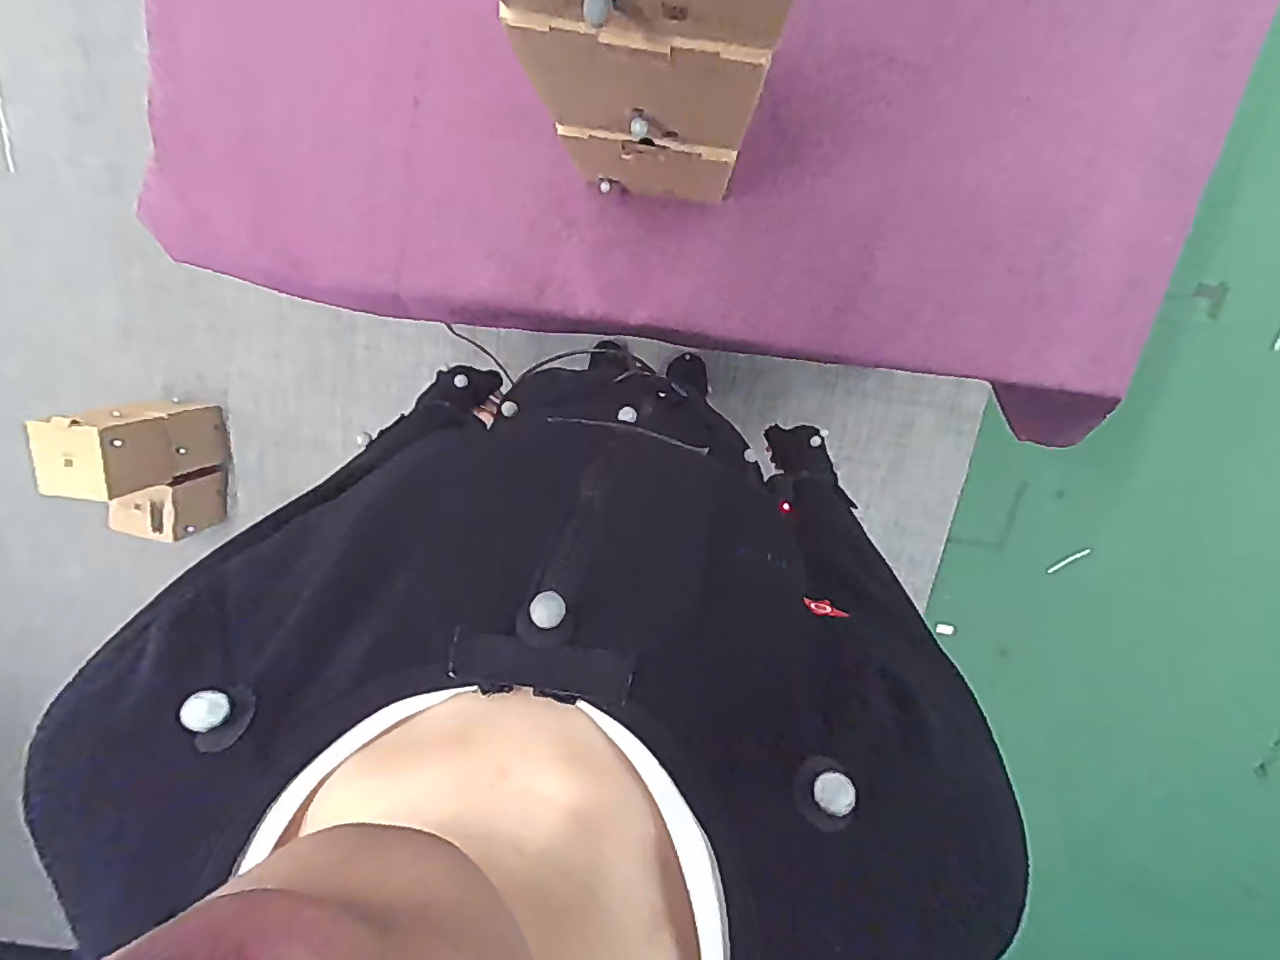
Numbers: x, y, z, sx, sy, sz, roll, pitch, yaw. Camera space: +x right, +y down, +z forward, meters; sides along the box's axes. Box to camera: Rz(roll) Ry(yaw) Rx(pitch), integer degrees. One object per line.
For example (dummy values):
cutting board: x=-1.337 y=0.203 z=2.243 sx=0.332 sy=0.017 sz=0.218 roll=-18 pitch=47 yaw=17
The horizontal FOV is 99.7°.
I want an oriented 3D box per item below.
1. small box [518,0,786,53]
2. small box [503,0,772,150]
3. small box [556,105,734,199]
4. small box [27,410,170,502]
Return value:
small box: x=0.007 y=-0.330 z=0.225 sx=0.168 sy=0.176 sz=0.179 roll=9 pitch=106 yaw=1
small box: x=0.014 y=-0.368 z=0.383 sx=0.168 sy=0.176 sz=0.179 roll=9 pitch=106 yaw=1
small box: x=0.022 y=-0.403 z=0.544 sx=0.168 sy=0.176 sz=0.179 roll=10 pitch=105 yaw=0
small box: x=-1.272 y=-0.062 z=1.287 sx=0.168 sy=0.176 sz=0.179 roll=6 pitch=105 yaw=1
